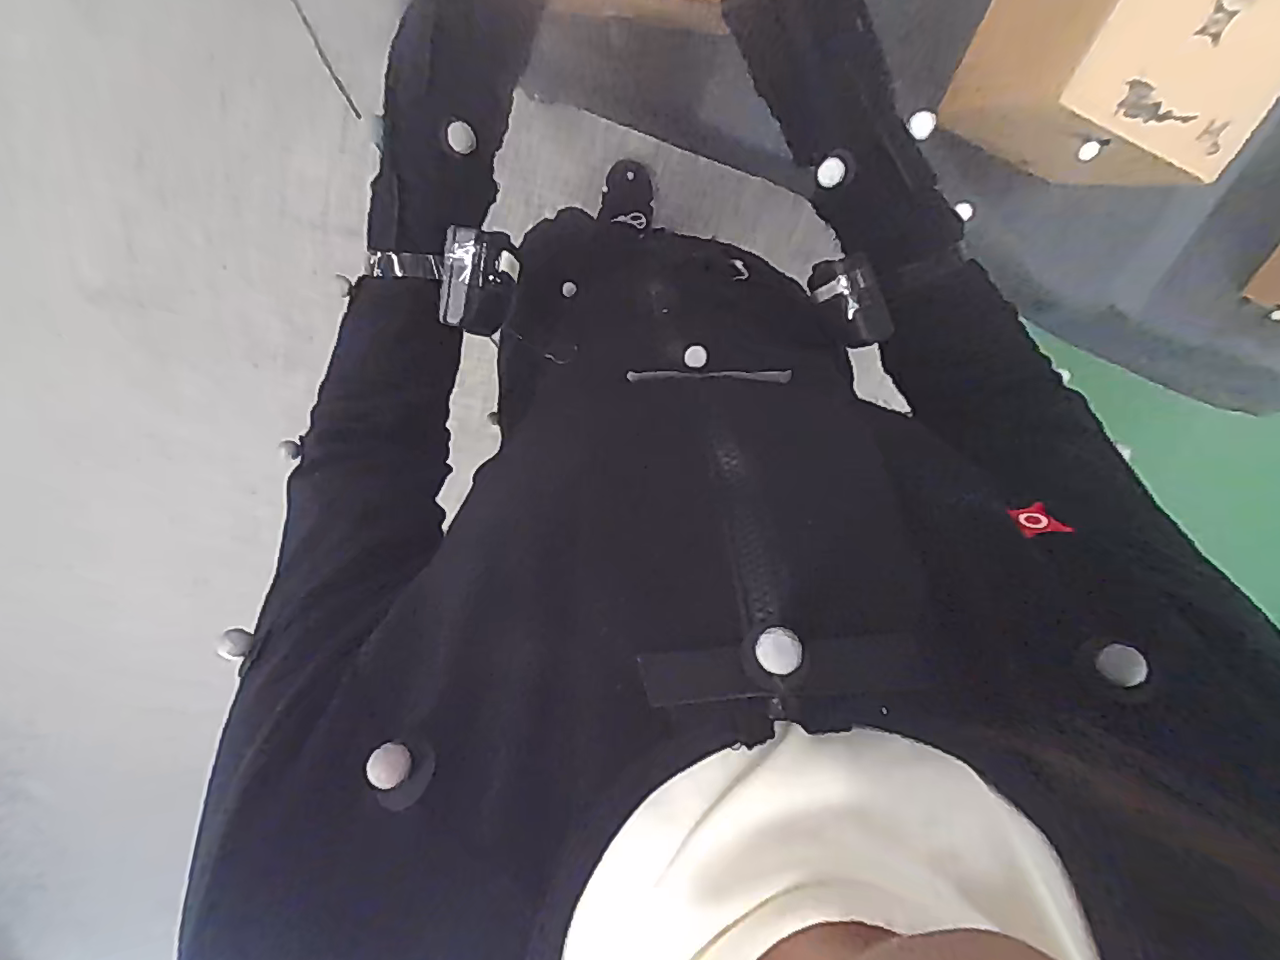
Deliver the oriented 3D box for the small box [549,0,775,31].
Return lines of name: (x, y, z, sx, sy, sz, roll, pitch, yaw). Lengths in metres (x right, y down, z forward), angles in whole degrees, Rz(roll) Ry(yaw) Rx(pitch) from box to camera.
small box: (0.008, -0.403, 0.324, 0.168, 0.176, 0.179, 5, 125, -7)

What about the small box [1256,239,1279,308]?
small box: (0.825, -0.239, 0.561, 0.168, 0.176, 0.179, 15, 115, -14)

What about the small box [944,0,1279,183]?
small box: (0.398, -0.368, 0.445, 0.168, 0.176, 0.179, 15, 116, -14)
